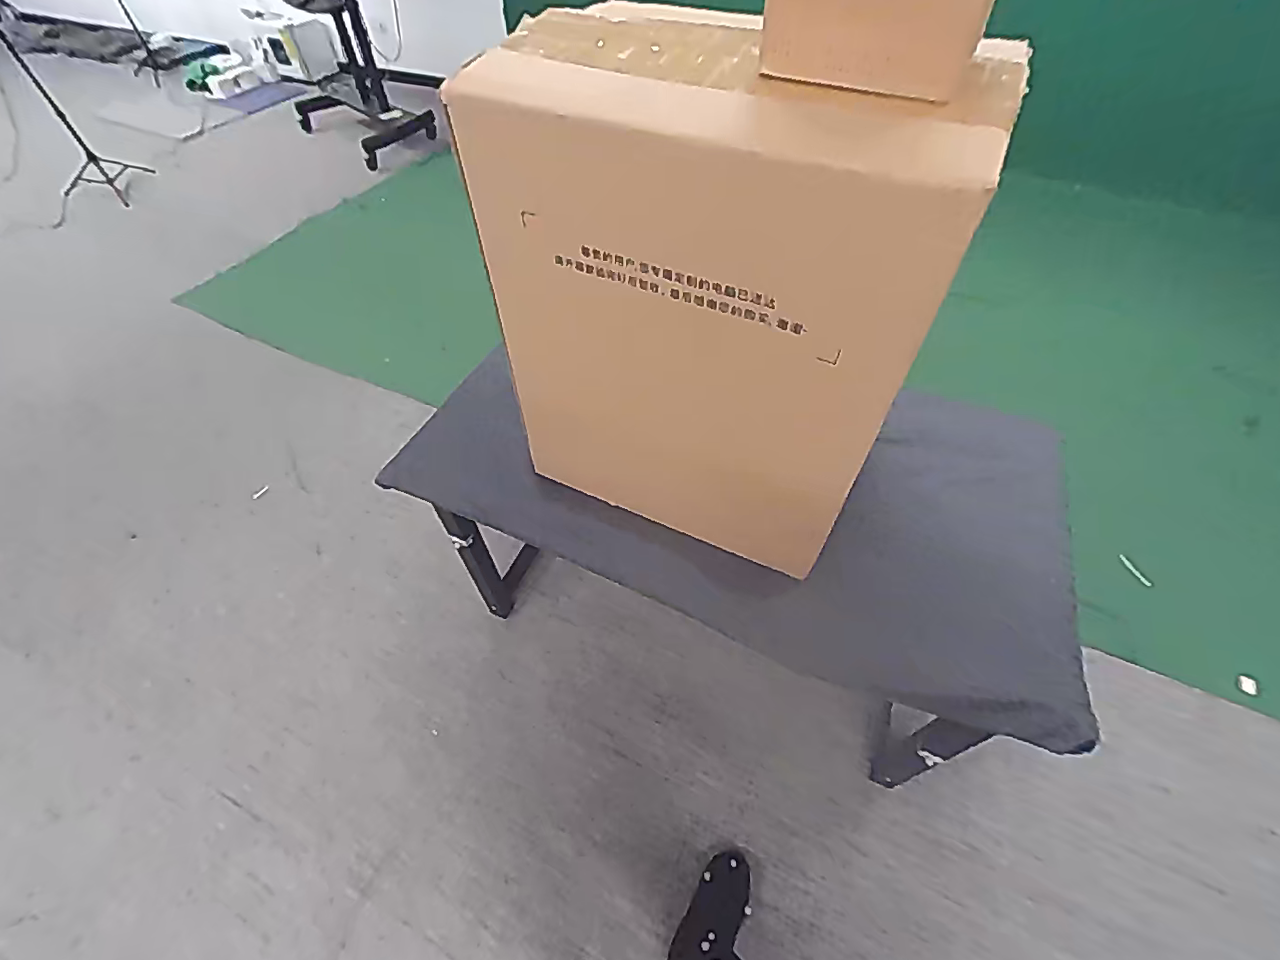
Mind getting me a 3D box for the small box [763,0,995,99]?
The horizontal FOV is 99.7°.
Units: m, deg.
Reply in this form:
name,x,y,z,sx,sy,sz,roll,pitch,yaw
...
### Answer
name,x,y,z,sx,sy,sz,roll,pitch,yaw
small box,0.217,-0.454,0.455,0.179,0.176,0.168,22,62,17
